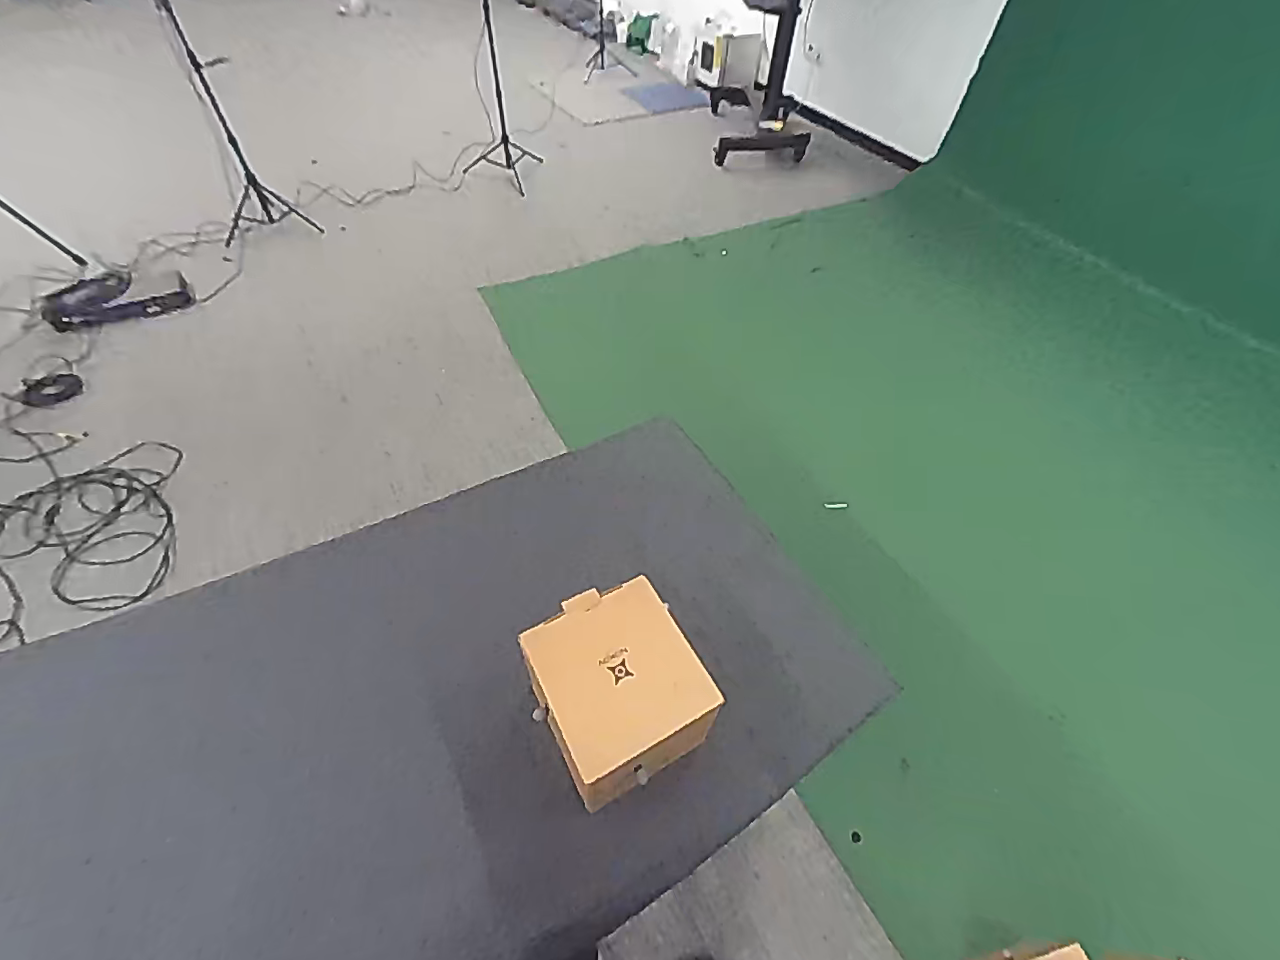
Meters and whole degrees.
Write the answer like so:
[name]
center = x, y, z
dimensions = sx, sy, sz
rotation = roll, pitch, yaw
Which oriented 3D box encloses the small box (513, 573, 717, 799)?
[small box]
center = -0.031, 0.248, 0.640
dimensions = 0.168, 0.176, 0.179
rotation = -23, 55, -20
